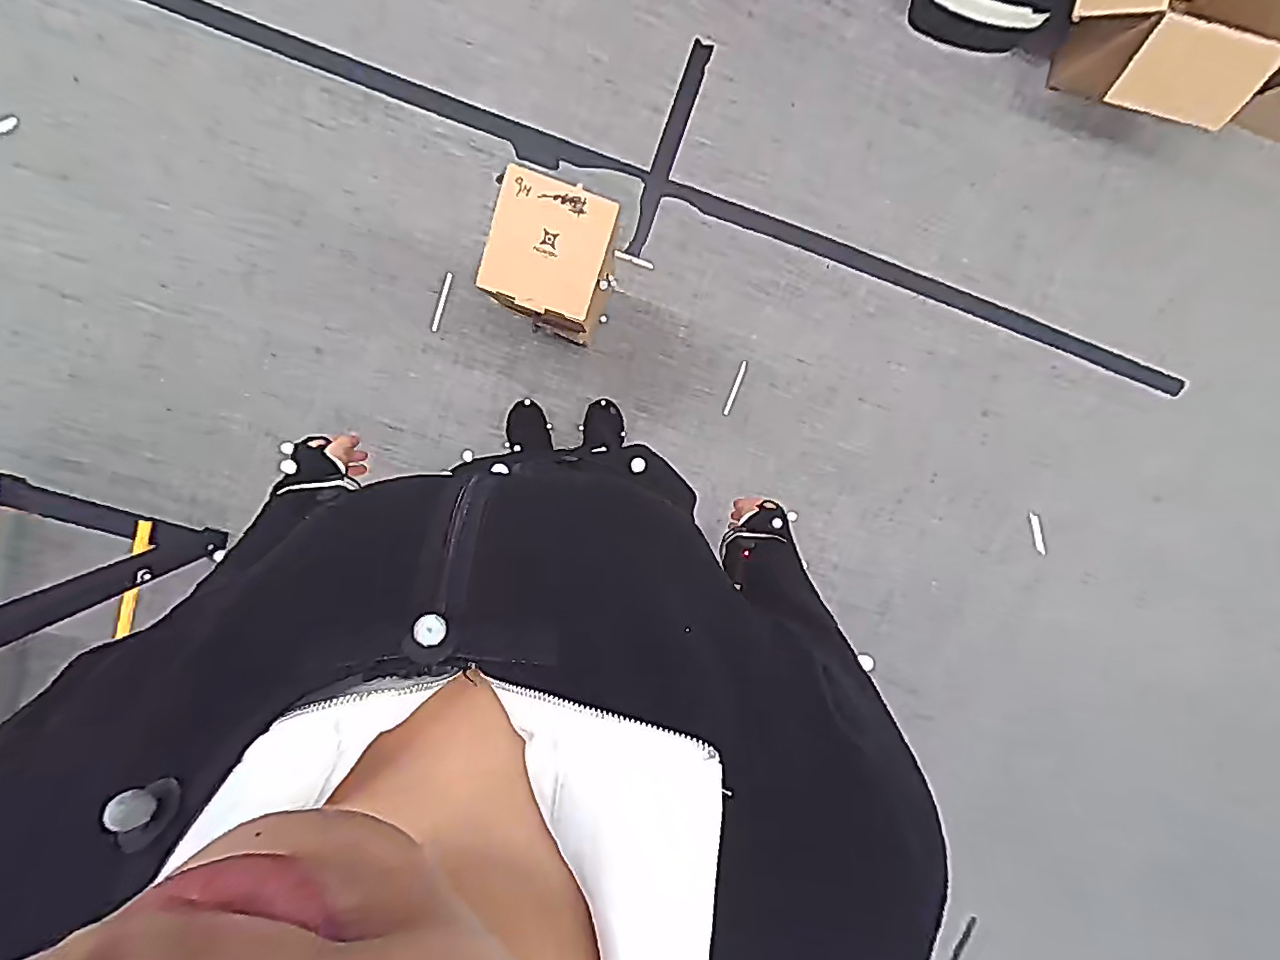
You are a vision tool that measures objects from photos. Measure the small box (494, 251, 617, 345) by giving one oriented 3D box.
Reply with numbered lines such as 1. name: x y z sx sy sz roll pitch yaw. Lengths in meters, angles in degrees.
1. small box: -0.152 -0.368 1.011 0.168 0.176 0.179 22 100 -6

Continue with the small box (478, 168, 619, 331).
1. small box: -0.134 -0.344 0.849 0.168 0.176 0.179 18 100 -6
